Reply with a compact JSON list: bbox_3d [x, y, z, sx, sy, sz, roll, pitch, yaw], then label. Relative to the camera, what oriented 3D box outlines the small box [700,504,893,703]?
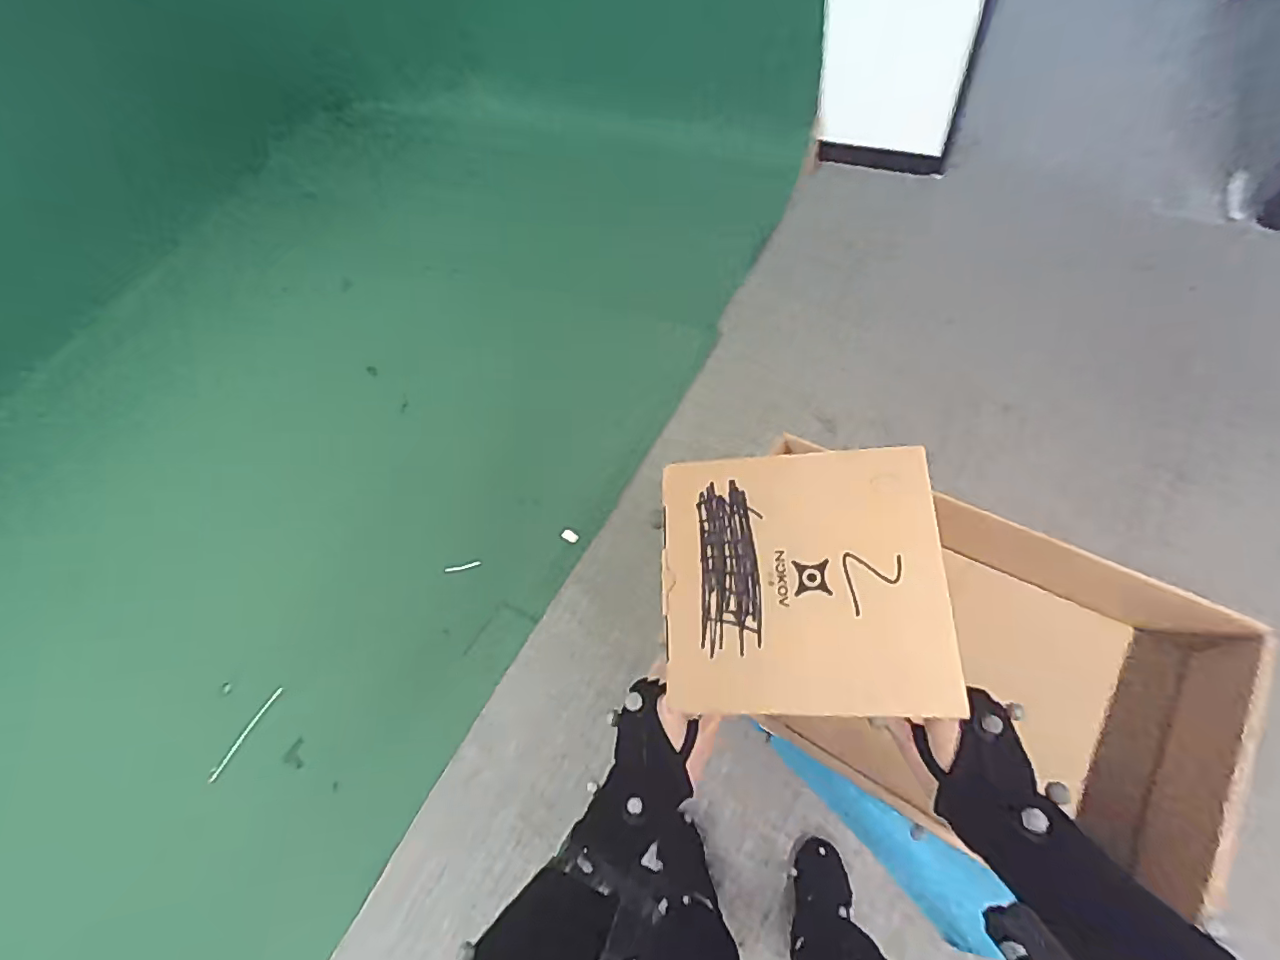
[{"bbox_3d":[0.153,0.132,0.570,0.168,0.176,0.179,-3,72,13],"label":"small box"}]
